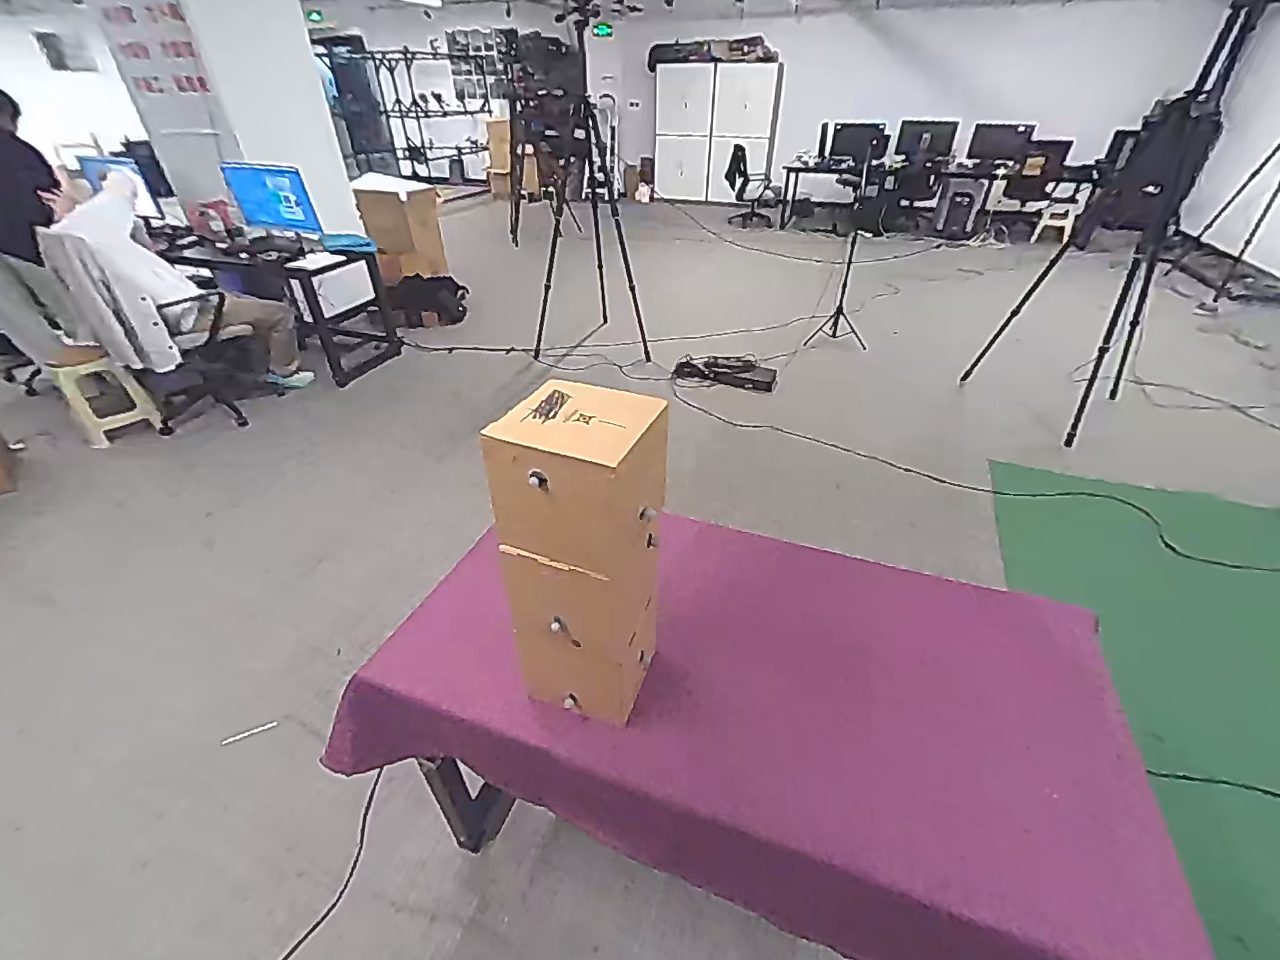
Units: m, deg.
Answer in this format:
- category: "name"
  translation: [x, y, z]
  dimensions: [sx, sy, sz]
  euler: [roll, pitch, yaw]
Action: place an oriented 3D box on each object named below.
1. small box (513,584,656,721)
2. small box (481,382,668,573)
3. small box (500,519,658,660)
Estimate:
- category: "small box"
  translation: [-0.083, 0.264, 0.888]
  dimensions: [0.179, 0.176, 0.168]
  euler: [12, 37, 15]
- category: "small box"
  translation: [-0.075, -0.006, 0.699]
  dimensions: [0.179, 0.176, 0.168]
  euler: [14, 38, 18]
- category: "small box"
  translation: [-0.081, 0.127, 0.795]
  dimensions: [0.168, 0.176, 0.179]
  euler: [12, 38, 17]
